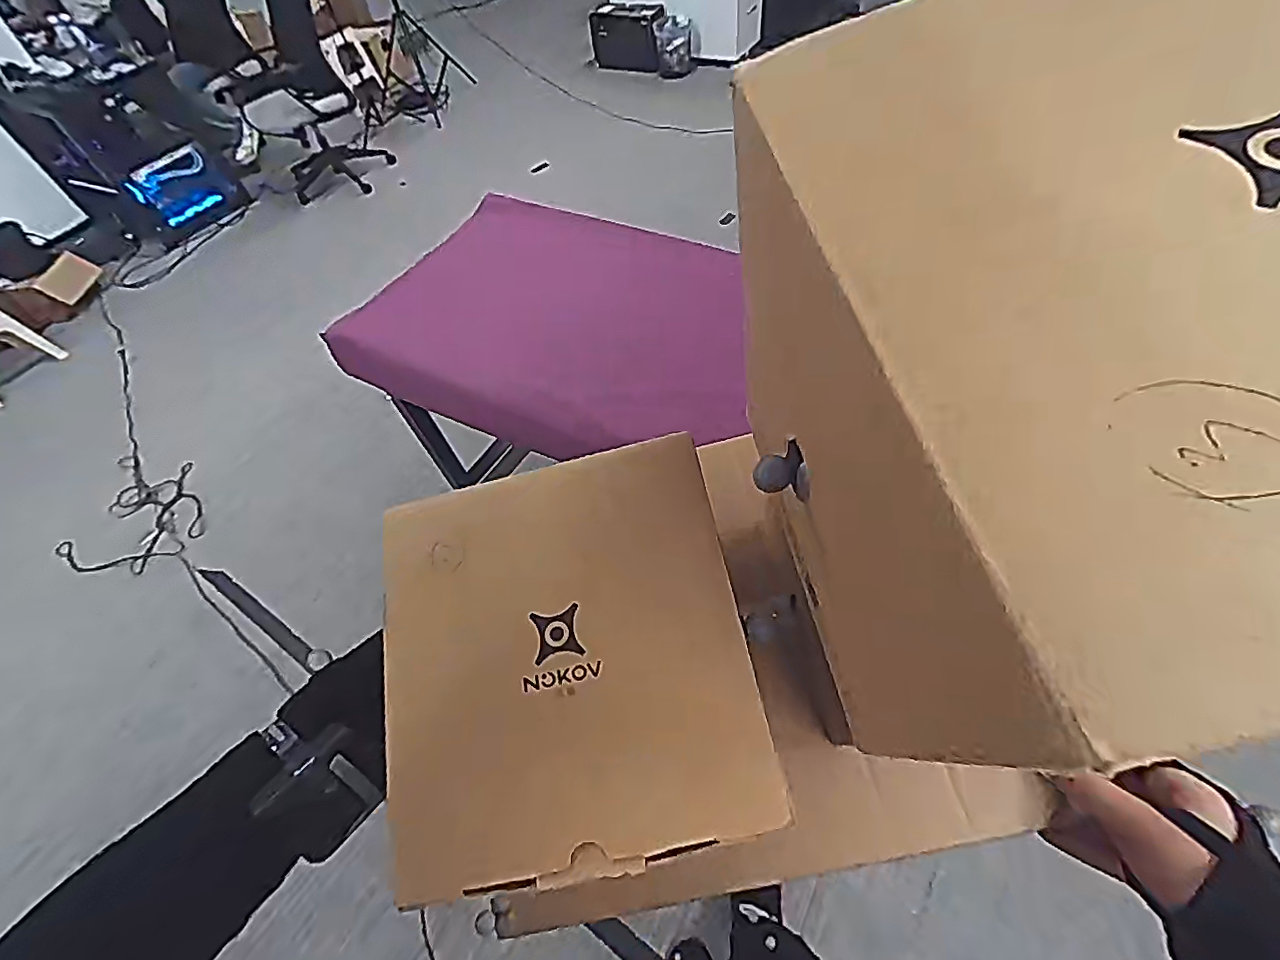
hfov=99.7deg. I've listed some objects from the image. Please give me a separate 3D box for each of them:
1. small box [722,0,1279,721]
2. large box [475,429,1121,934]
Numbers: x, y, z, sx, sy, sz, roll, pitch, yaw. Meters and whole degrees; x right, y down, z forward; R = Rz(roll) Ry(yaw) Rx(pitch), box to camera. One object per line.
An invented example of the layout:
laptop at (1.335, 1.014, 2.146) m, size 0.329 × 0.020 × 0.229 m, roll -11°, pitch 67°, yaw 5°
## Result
small box at (0.134, -0.031, 0.165) m, size 0.179 × 0.176 × 0.168 m, roll -14°, pitch 62°, yaw 5°
large box at (0.101, 0.173, 0.537) m, size 0.408 × 0.320 × 0.320 m, roll -17°, pitch 60°, yaw 4°
